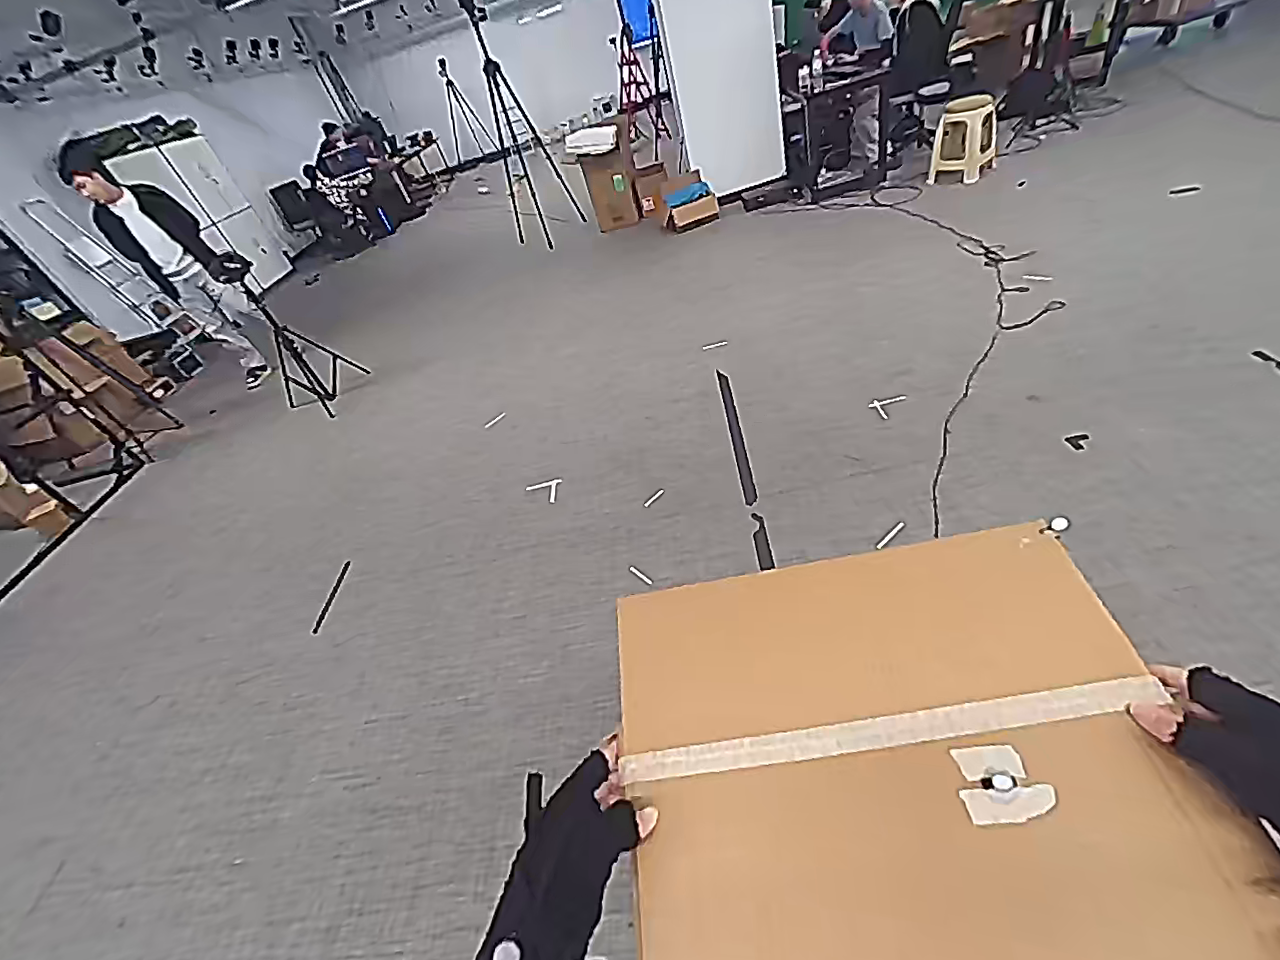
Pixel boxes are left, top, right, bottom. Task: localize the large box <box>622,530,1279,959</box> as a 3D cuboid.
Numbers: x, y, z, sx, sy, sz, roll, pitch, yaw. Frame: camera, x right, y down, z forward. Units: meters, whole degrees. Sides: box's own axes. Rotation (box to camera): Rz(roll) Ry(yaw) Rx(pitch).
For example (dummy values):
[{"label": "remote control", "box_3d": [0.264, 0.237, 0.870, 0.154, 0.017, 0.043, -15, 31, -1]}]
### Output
[{"label": "large box", "box_3d": [0.219, 0.297, 0.542, 0.408, 0.320, 0.320, -12, 49, 7]}]
